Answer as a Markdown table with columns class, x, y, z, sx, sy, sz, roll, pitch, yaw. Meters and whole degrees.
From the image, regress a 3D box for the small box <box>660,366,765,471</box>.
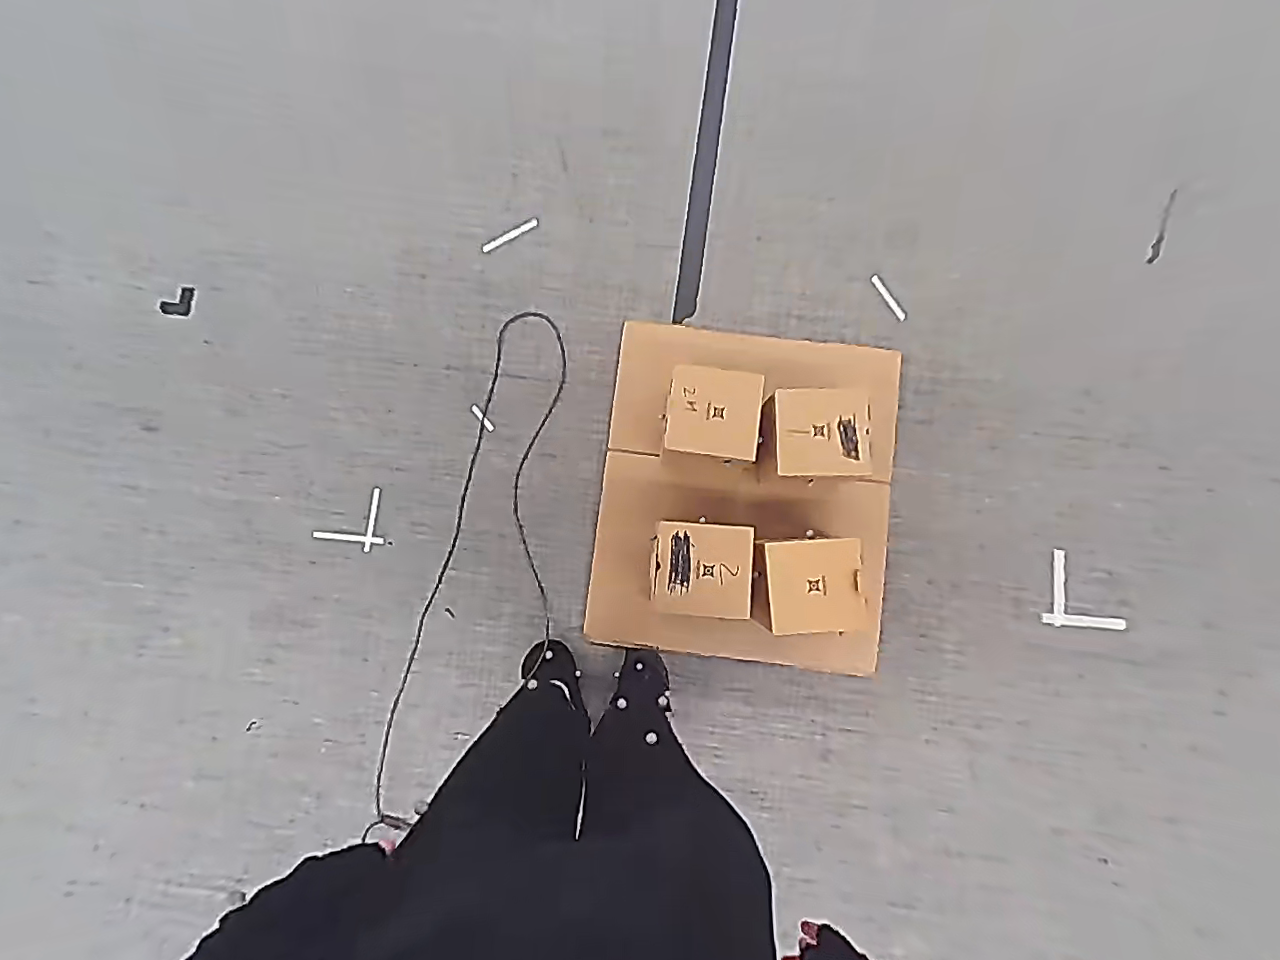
| class | x | y | z | sx | sy | sz | roll | pitch | yaw |
| --- | --- | --- | --- | --- | --- | --- | --- | --- | --- |
| small box | 0.139 | -0.116 | 1.097 | 0.179 | 0.176 | 0.168 | 9 | 84 | 1 |

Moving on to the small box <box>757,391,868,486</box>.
| class | x | y | z | sx | sy | sz | roll | pitch | yaw |
| --- | --- | --- | --- | --- | --- | --- | --- | --- | --- |
| small box | 0.339 | -0.078 | 1.089 | 0.179 | 0.176 | 0.168 | 0 | 84 | 1 |
